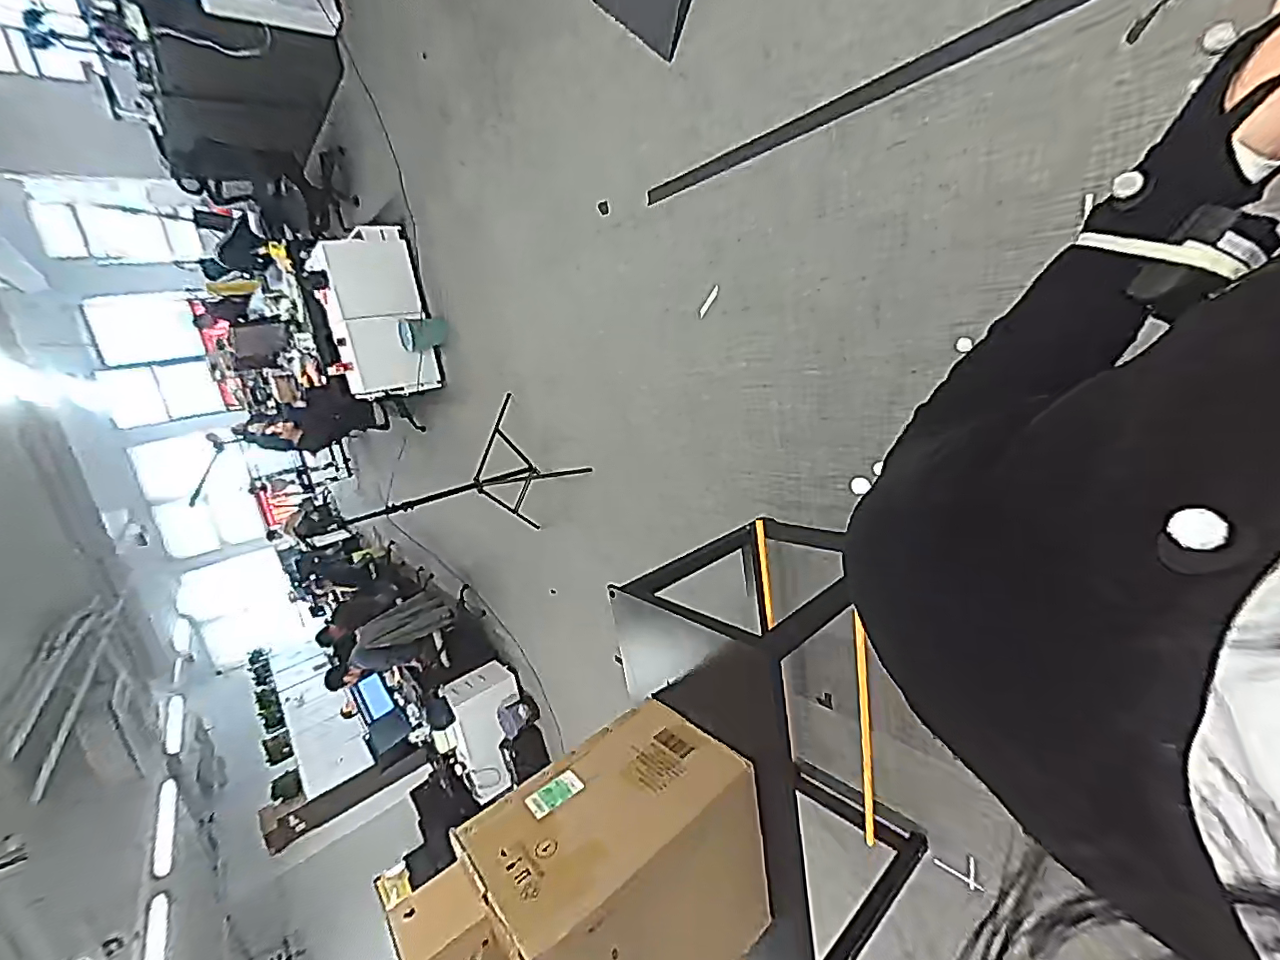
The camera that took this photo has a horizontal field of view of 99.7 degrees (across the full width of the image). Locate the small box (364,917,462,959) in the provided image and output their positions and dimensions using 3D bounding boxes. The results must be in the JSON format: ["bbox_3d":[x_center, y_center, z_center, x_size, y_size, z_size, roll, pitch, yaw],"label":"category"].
[{"bbox_3d":[-0.444,1.044,1.094,0.179,0.176,0.168,8,114,53],"label":"small box"}]
